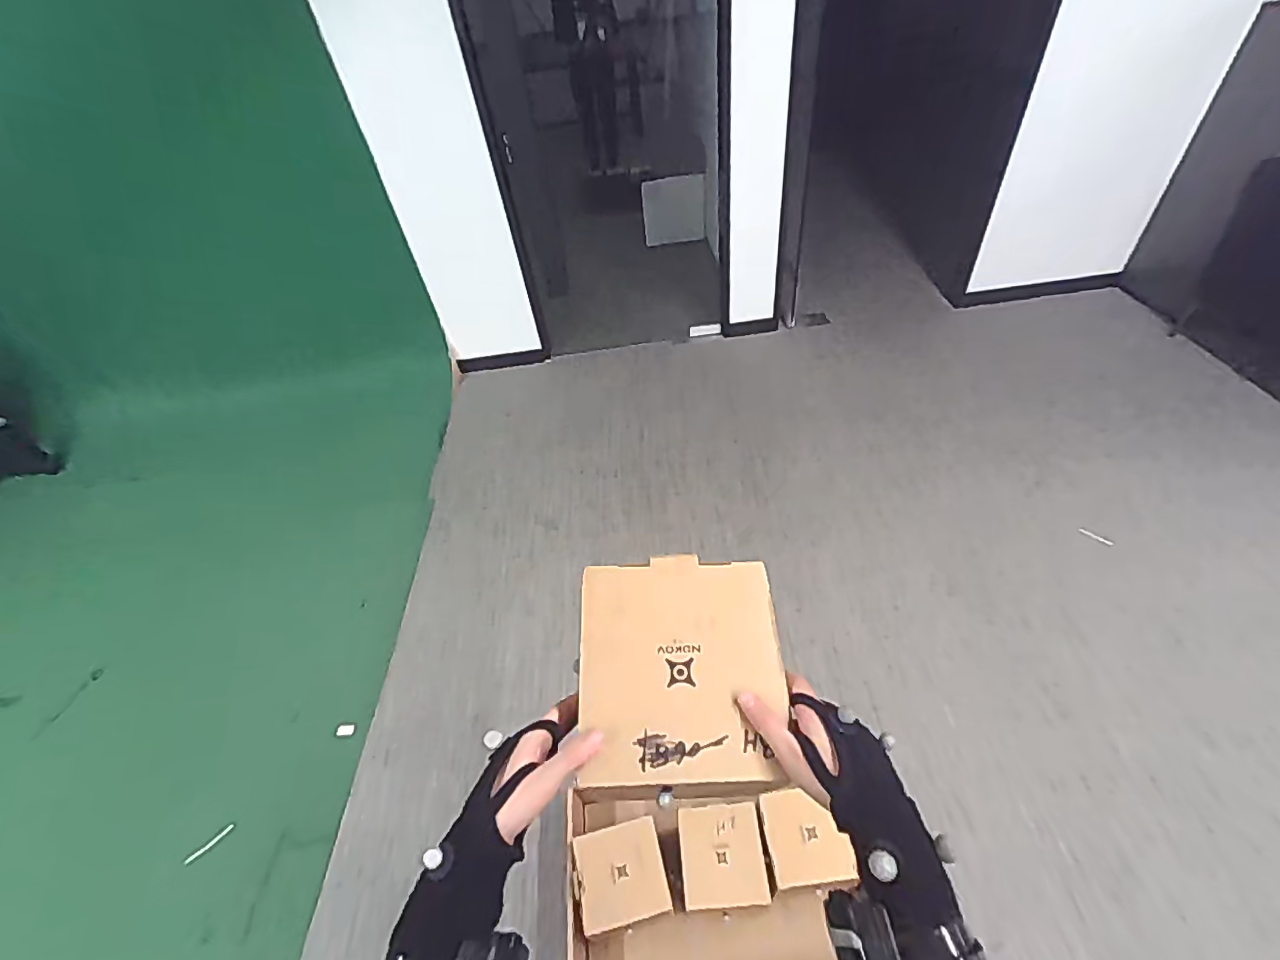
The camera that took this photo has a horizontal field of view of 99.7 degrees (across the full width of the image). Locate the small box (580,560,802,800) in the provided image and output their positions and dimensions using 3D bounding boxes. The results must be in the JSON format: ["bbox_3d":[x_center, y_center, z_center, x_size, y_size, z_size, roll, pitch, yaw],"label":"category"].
[{"bbox_3d":[0.036,0.191,0.506,0.168,0.176,0.179,-2,56,0],"label":"small box"}]
